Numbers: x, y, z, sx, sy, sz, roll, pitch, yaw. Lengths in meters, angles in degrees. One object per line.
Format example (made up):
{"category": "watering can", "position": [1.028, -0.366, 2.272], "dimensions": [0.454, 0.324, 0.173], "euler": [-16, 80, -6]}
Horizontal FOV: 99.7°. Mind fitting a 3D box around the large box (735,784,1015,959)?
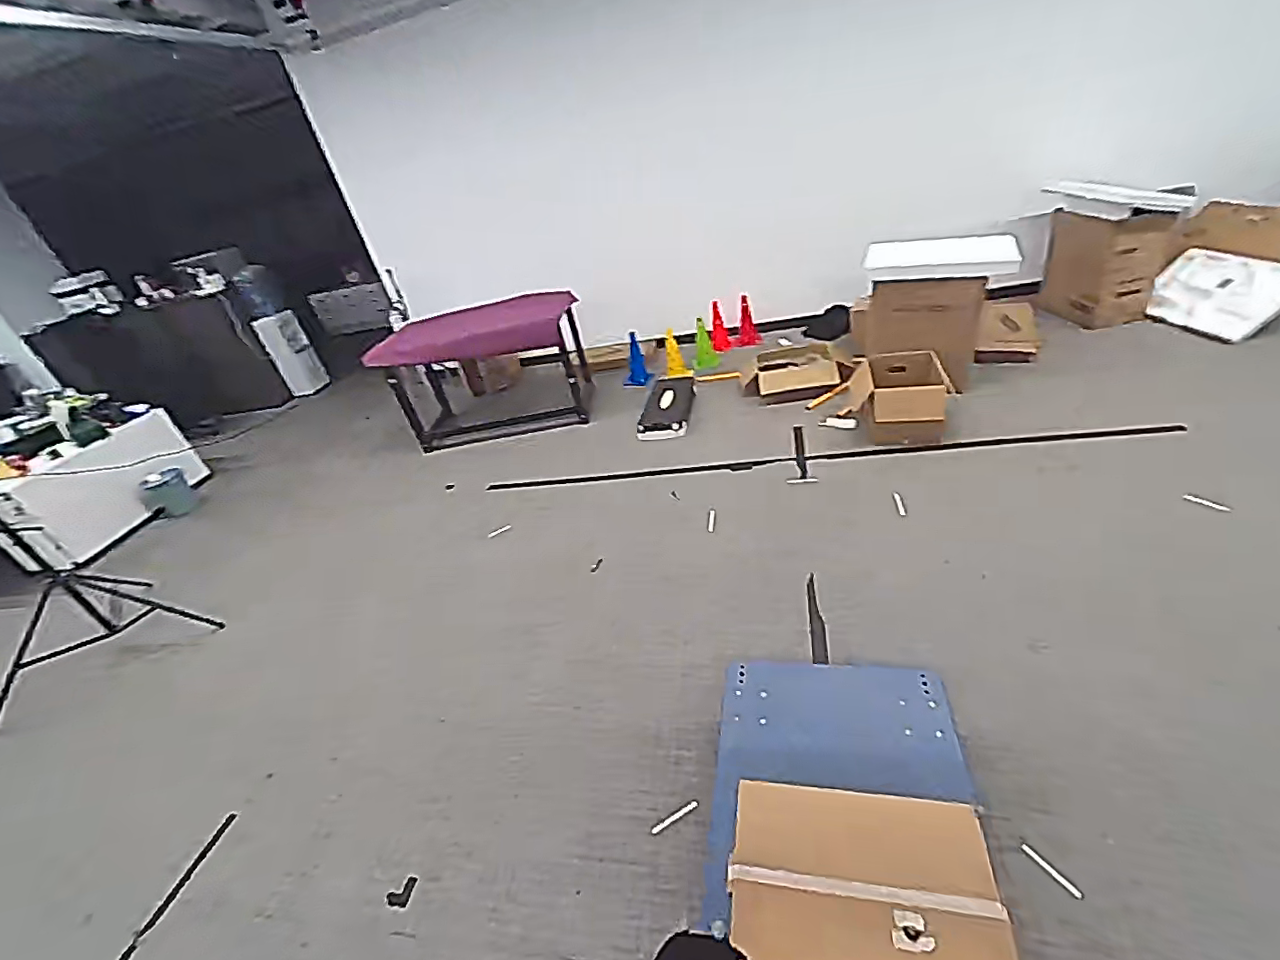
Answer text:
{"category": "large box", "position": [0.385, 0.787, 0.952], "dimensions": [0.408, 0.320, 0.320], "euler": [-2, 35, 16]}
